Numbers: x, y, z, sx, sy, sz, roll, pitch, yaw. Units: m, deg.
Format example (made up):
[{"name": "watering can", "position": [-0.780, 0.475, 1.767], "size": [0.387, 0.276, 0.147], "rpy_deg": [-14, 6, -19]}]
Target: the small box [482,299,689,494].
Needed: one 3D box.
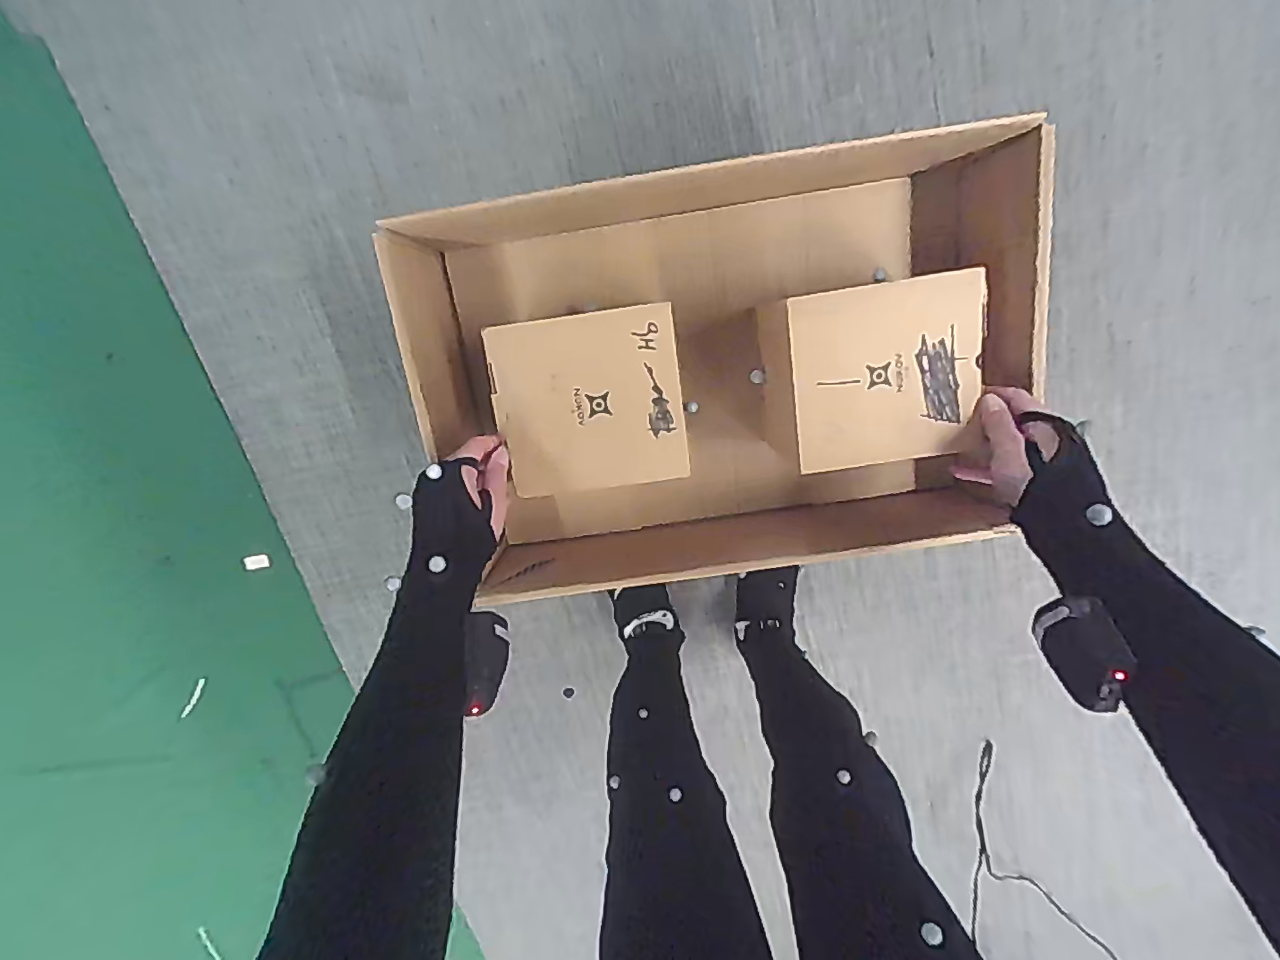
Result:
[{"name": "small box", "position": [-0.044, -0.091, 0.573], "size": [0.179, 0.176, 0.168], "rpy_deg": [-6, 105, 3]}]
